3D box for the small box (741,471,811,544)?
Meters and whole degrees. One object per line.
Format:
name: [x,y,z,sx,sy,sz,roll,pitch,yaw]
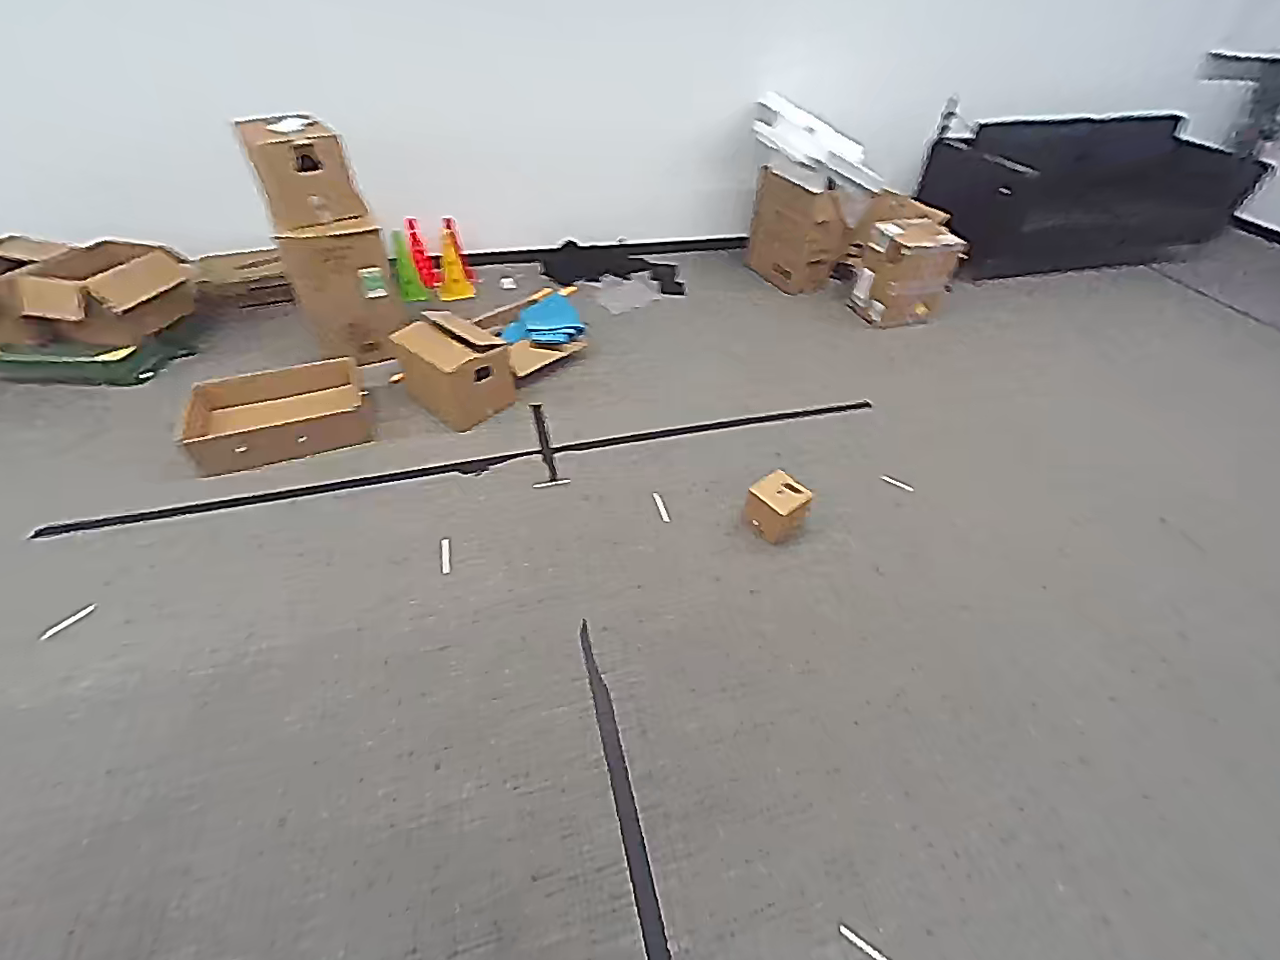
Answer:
small box: [0.499,0.102,2.012,0.179,0.176,0.168,-29,52,-28]
